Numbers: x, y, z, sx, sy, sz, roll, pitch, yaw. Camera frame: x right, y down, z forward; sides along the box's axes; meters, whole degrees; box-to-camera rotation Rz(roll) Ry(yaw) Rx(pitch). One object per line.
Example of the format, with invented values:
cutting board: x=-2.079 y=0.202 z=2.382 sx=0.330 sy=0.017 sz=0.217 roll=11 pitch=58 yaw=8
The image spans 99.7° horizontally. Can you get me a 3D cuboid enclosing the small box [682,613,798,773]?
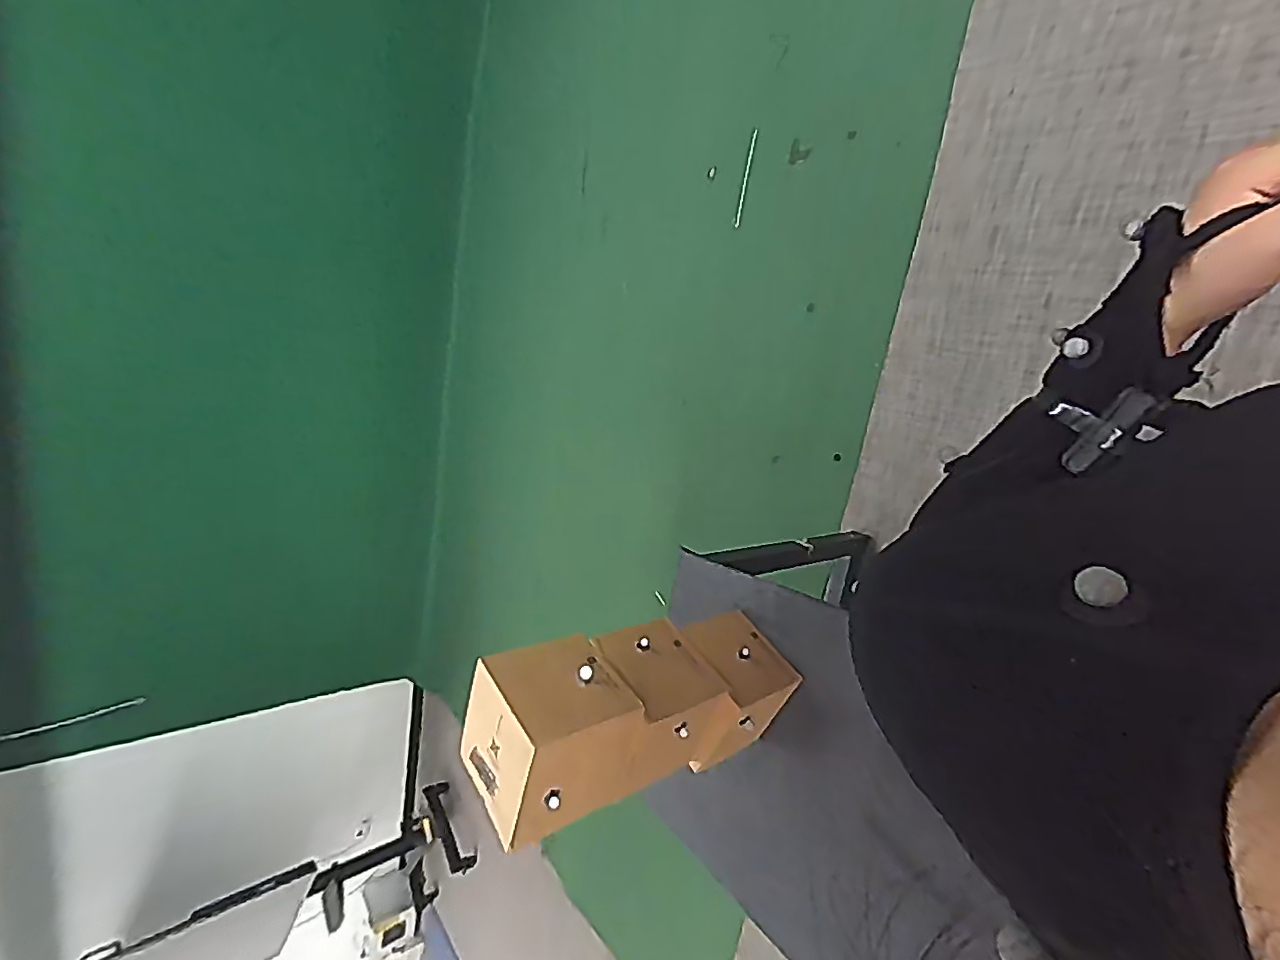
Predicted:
small box: x=0.144 y=0.356 z=0.935 sx=0.168 sy=0.176 sz=0.179 roll=47 pitch=126 yaw=38

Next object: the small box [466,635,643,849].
small box: x=-0.117 y=0.341 z=0.738 sx=0.168 sy=0.176 sz=0.179 roll=34 pitch=116 yaw=44

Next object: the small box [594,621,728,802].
small box: x=0.011 y=0.345 z=0.841 sx=0.168 sy=0.176 sz=0.179 roll=42 pitch=123 yaw=41
